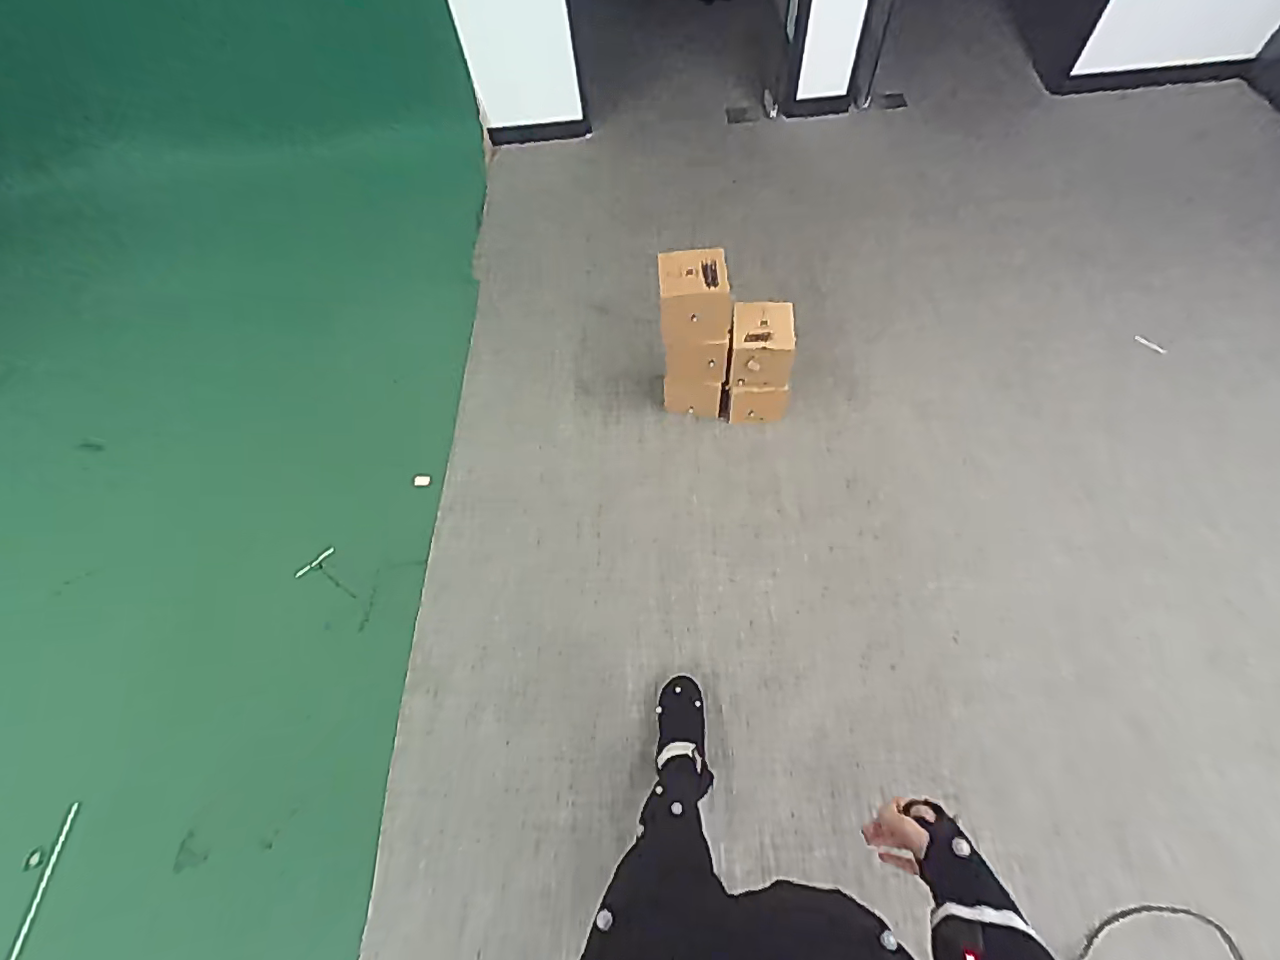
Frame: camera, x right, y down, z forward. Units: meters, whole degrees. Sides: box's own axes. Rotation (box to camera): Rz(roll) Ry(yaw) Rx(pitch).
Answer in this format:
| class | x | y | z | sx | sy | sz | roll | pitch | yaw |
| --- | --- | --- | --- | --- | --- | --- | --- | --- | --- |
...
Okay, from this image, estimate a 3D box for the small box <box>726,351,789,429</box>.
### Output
| class | x | y | z | sx | sy | sz | roll | pitch | yaw |
| --- | --- | --- | --- | --- | --- | --- | --- | --- | --- |
| small box | 0.362 | -0.281 | 1.696 | 0.168 | 0.176 | 0.179 | -3 | 62 | 4 |
